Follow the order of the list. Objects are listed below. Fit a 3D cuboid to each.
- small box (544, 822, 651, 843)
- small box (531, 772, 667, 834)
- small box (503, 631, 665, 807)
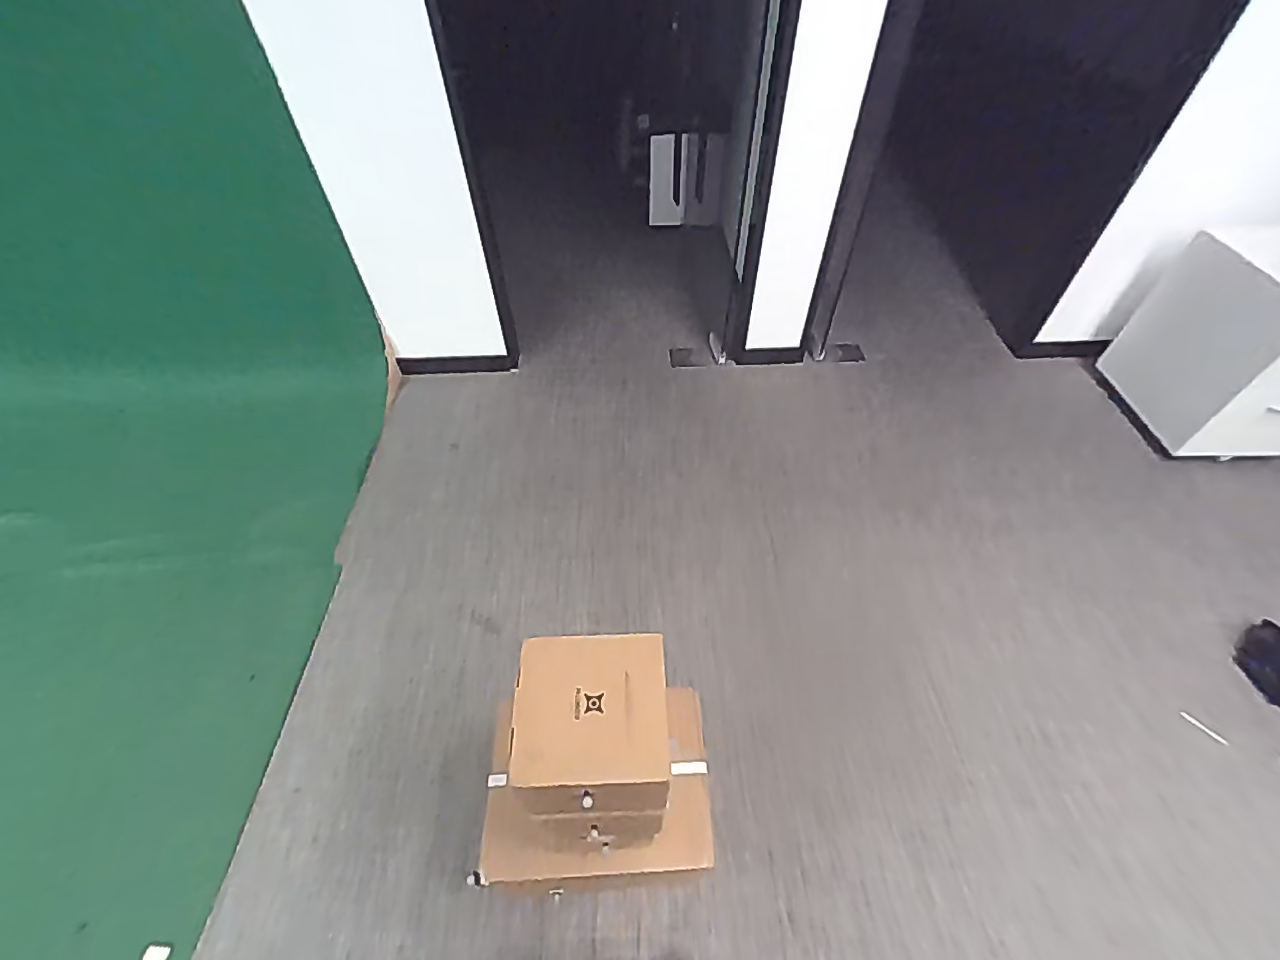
[{"bbox_3d":[-0.068,0.513,0.931,0.168,0.176,0.179,-4,51,-2],"label":"small box"},{"bbox_3d":[-0.060,0.413,0.801,0.179,0.176,0.168,-4,50,-4],"label":"small box"},{"bbox_3d":[-0.061,0.303,0.681,0.179,0.176,0.168,-1,51,-2],"label":"small box"}]
